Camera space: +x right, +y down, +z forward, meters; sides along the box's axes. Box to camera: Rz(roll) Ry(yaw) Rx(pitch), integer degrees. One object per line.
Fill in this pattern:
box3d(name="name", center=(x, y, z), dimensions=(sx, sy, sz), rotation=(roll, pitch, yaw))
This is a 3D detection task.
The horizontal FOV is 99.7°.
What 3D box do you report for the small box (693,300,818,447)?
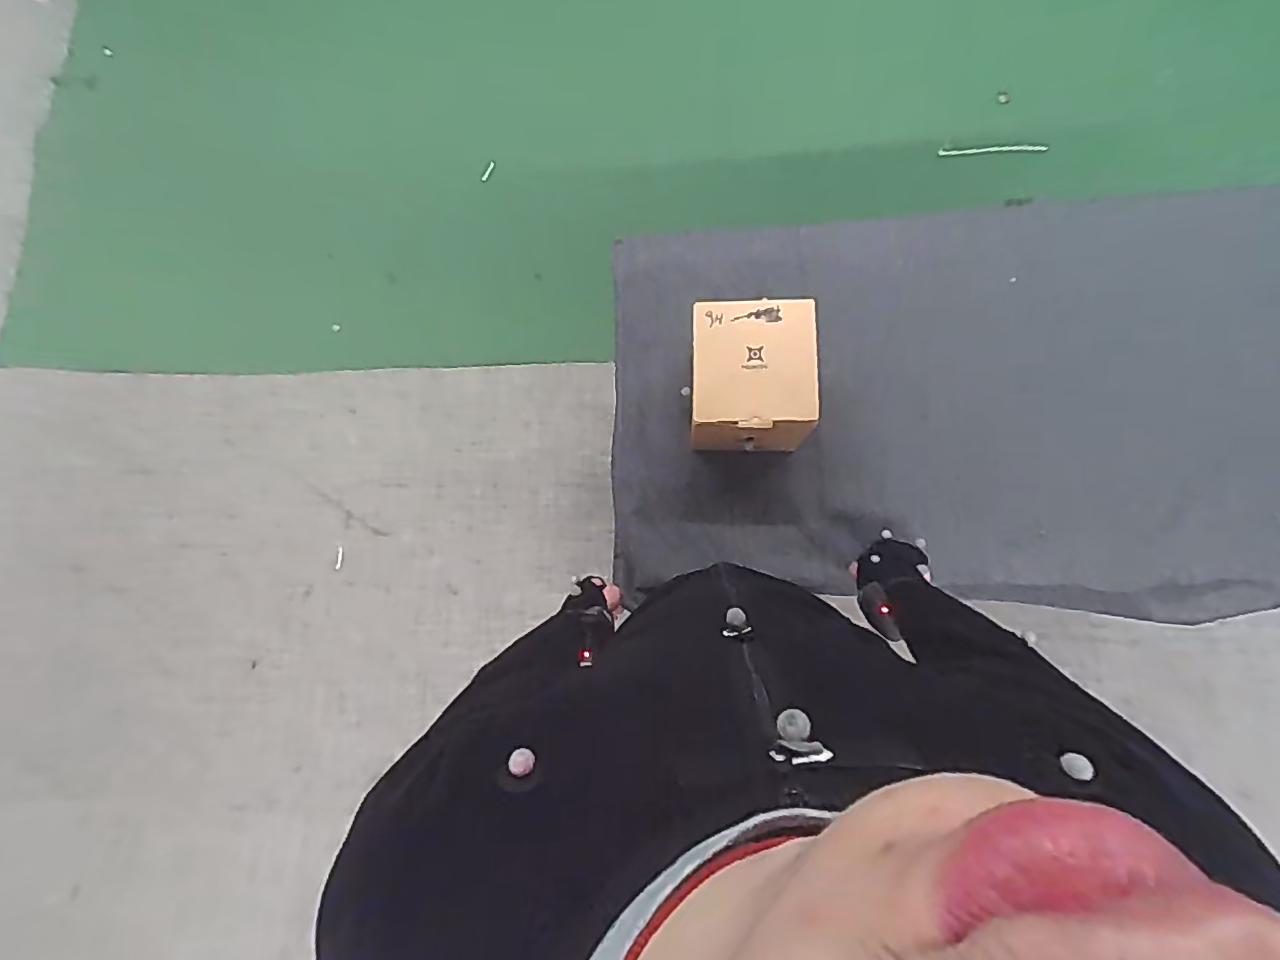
box3d(name="small box", center=(0.164, -0.147, 0.805), dimensions=(0.168, 0.176, 0.179), rotation=(1, 81, 5))
